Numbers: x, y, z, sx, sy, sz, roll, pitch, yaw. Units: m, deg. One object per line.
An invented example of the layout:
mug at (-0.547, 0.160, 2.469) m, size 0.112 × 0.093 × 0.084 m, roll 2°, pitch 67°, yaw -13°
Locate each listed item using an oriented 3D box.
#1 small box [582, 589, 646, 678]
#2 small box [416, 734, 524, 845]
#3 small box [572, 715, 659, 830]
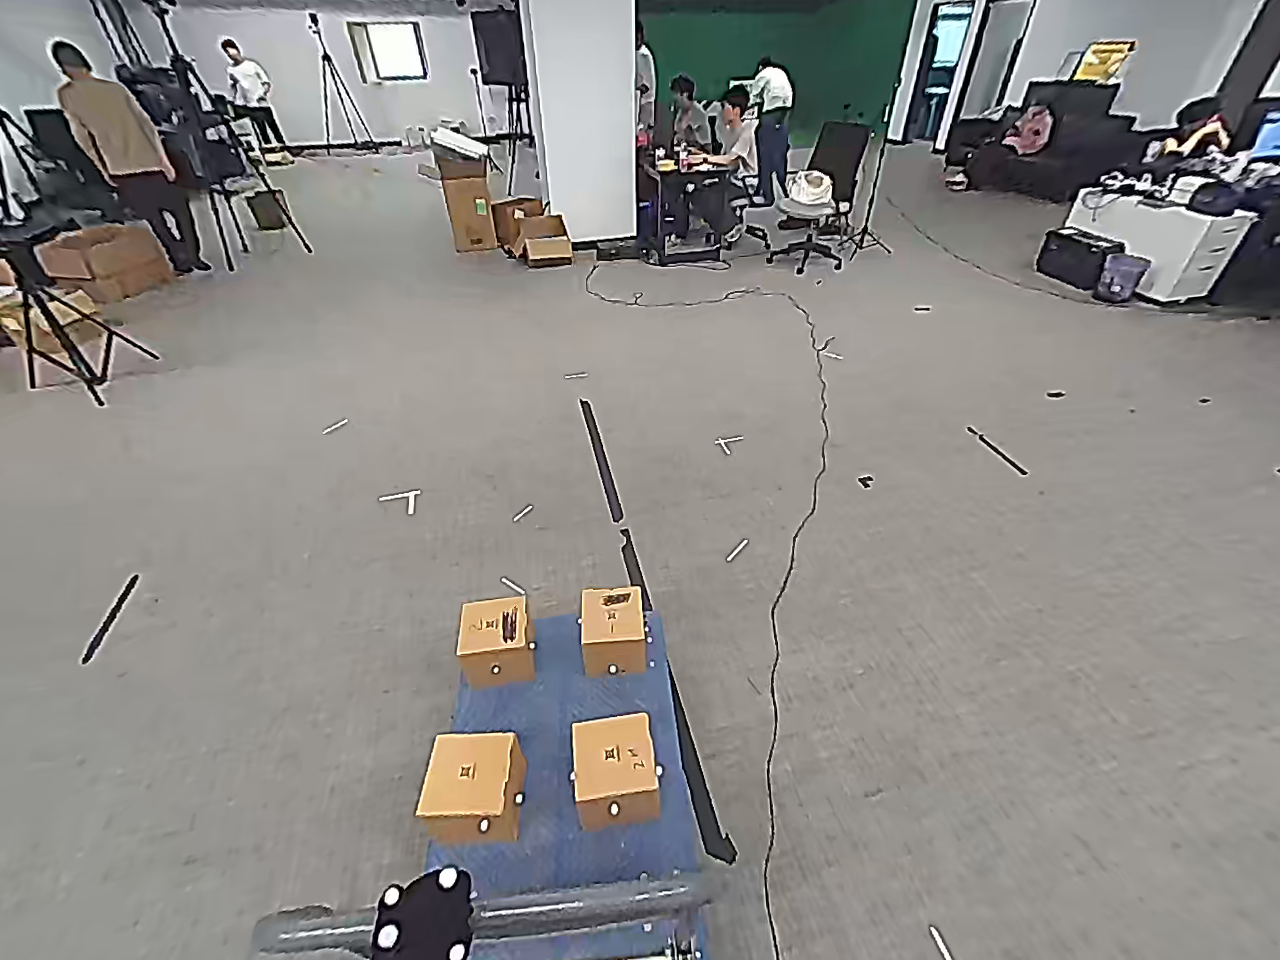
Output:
small box at (-0.072, 0.425, 1.499) m, size 0.168 × 0.176 × 0.179 m, roll -3°, pitch 40°, yaw -2°
small box at (-0.363, 0.682, 1.190) m, size 0.179 × 0.176 × 0.168 m, roll -1°, pitch 38°, yaw -2°
small box at (-0.055, 0.657, 1.210) m, size 0.179 × 0.176 × 0.168 m, roll -6°, pitch 39°, yaw -5°
